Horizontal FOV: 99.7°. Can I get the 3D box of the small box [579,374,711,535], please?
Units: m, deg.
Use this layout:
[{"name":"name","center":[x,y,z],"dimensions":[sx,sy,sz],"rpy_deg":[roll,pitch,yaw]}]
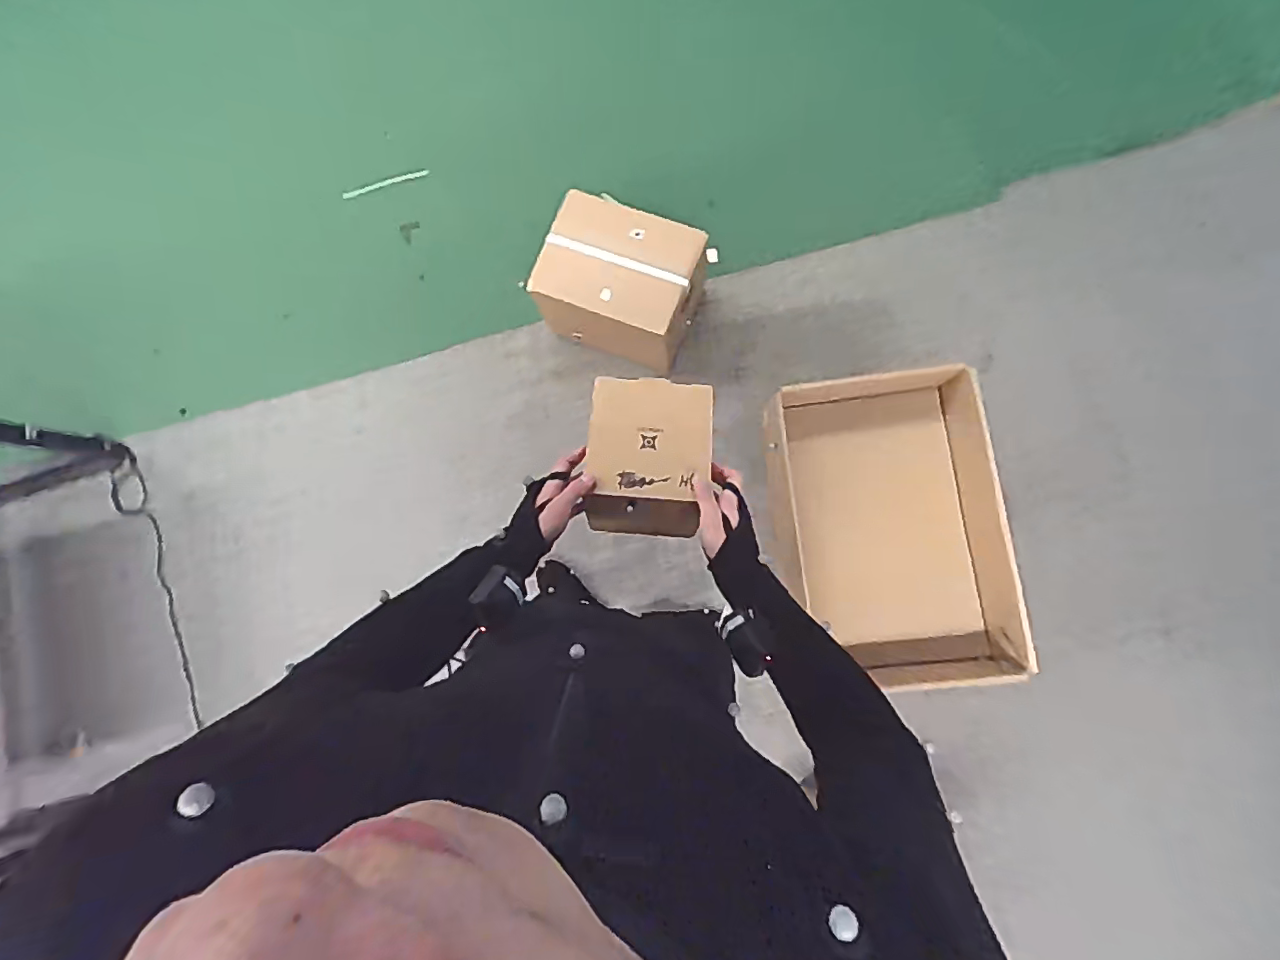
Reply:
[{"name":"small box","center":[0.007,-0.031,0.788],"dimensions":[0.168,0.176,0.179],"rpy_deg":[5,69,0]}]
